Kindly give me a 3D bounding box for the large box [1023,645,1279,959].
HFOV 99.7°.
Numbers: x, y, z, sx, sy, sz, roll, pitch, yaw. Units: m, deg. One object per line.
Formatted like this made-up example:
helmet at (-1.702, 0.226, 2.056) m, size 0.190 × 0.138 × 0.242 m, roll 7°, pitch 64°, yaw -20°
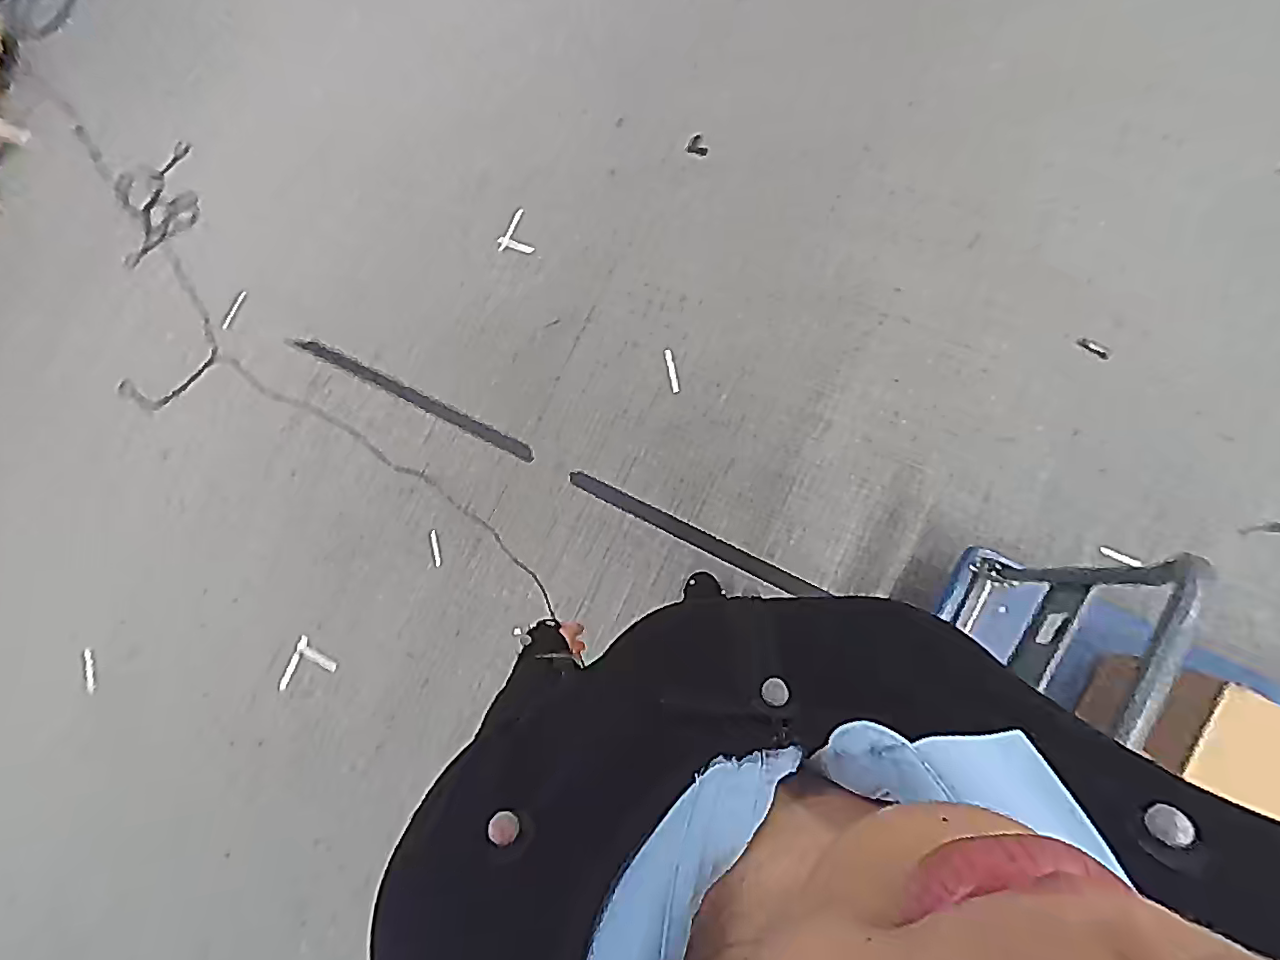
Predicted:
large box at (0.991, 0.566, 0.969) m, size 0.320 × 0.320 × 0.408 m, roll 29°, pitch 86°, yaw 13°
